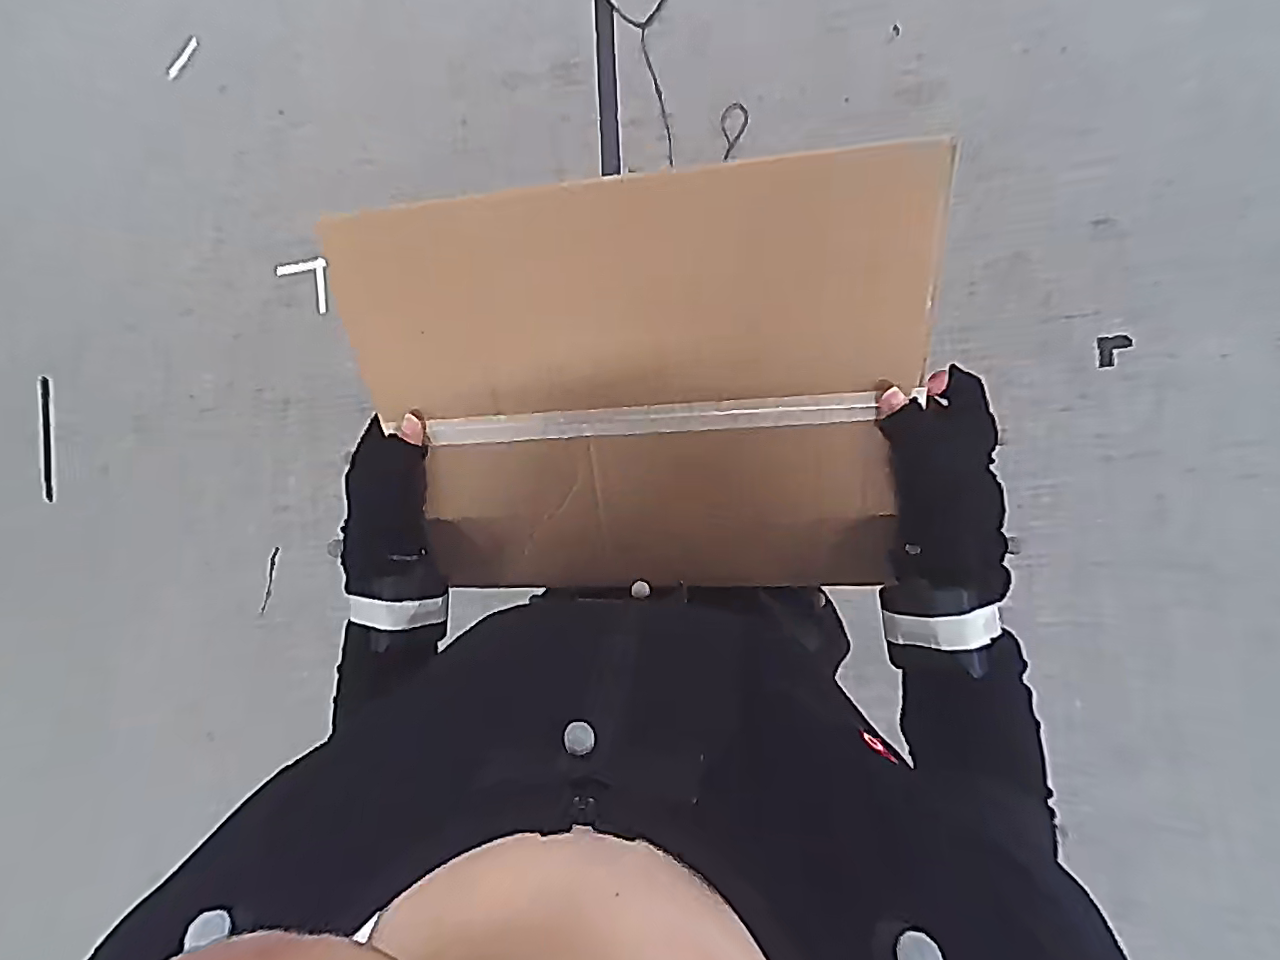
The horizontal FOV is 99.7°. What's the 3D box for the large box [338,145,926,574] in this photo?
[{"bbox_3d":[0.015,-0.123,0.549,0.408,0.320,0.320,-2,117,9],"label":"large box"}]
